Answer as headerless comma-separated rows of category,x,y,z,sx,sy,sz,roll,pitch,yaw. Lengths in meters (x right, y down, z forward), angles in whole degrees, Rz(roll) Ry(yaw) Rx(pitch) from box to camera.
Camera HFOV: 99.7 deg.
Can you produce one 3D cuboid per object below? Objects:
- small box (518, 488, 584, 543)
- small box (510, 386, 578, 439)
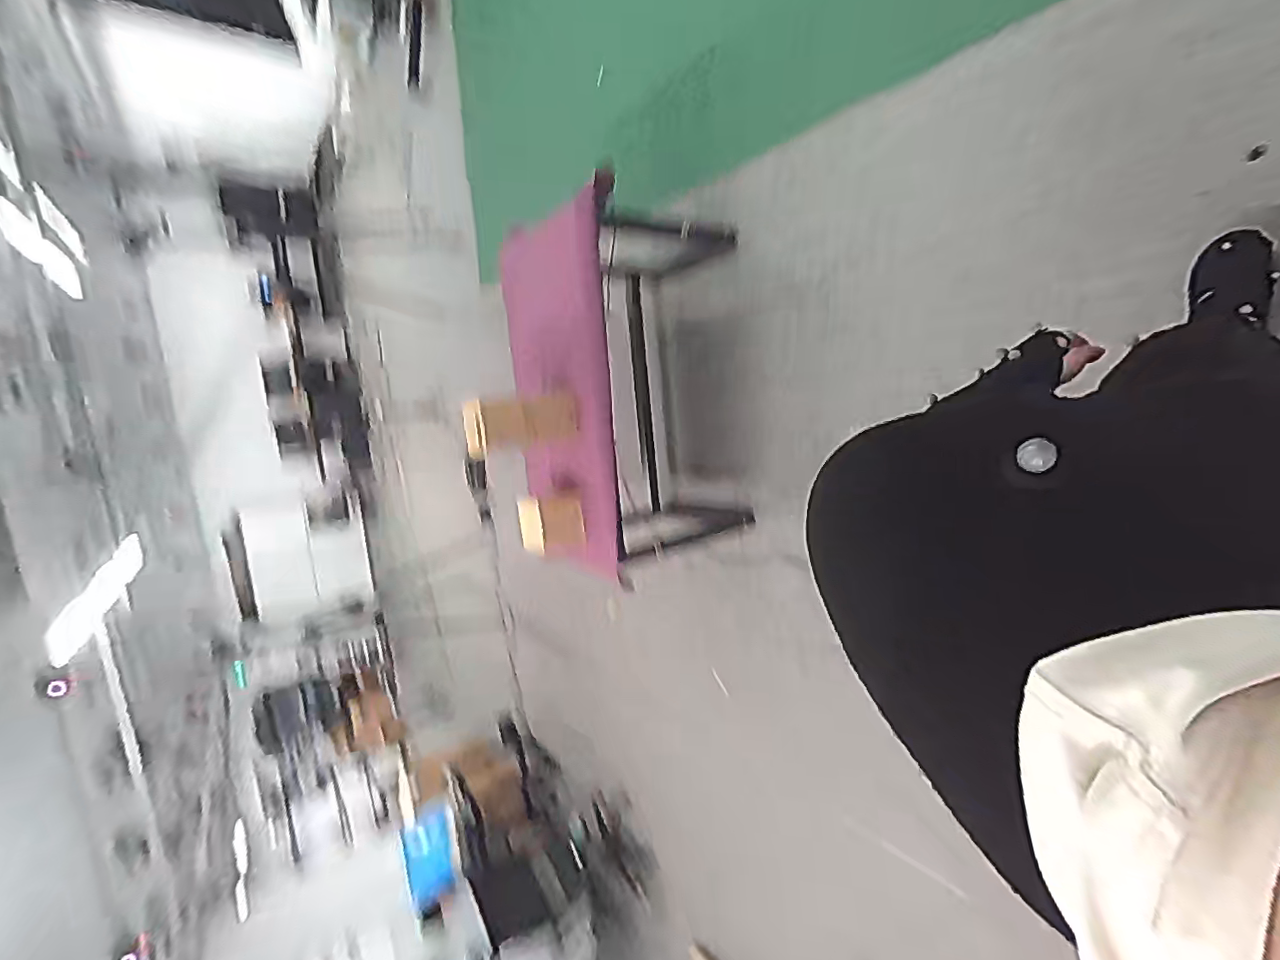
small box,-0.319,0.122,1.945,0.179,0.176,0.168,0,99,53
small box,-0.331,-0.233,1.866,0.179,0.176,0.168,6,104,53
